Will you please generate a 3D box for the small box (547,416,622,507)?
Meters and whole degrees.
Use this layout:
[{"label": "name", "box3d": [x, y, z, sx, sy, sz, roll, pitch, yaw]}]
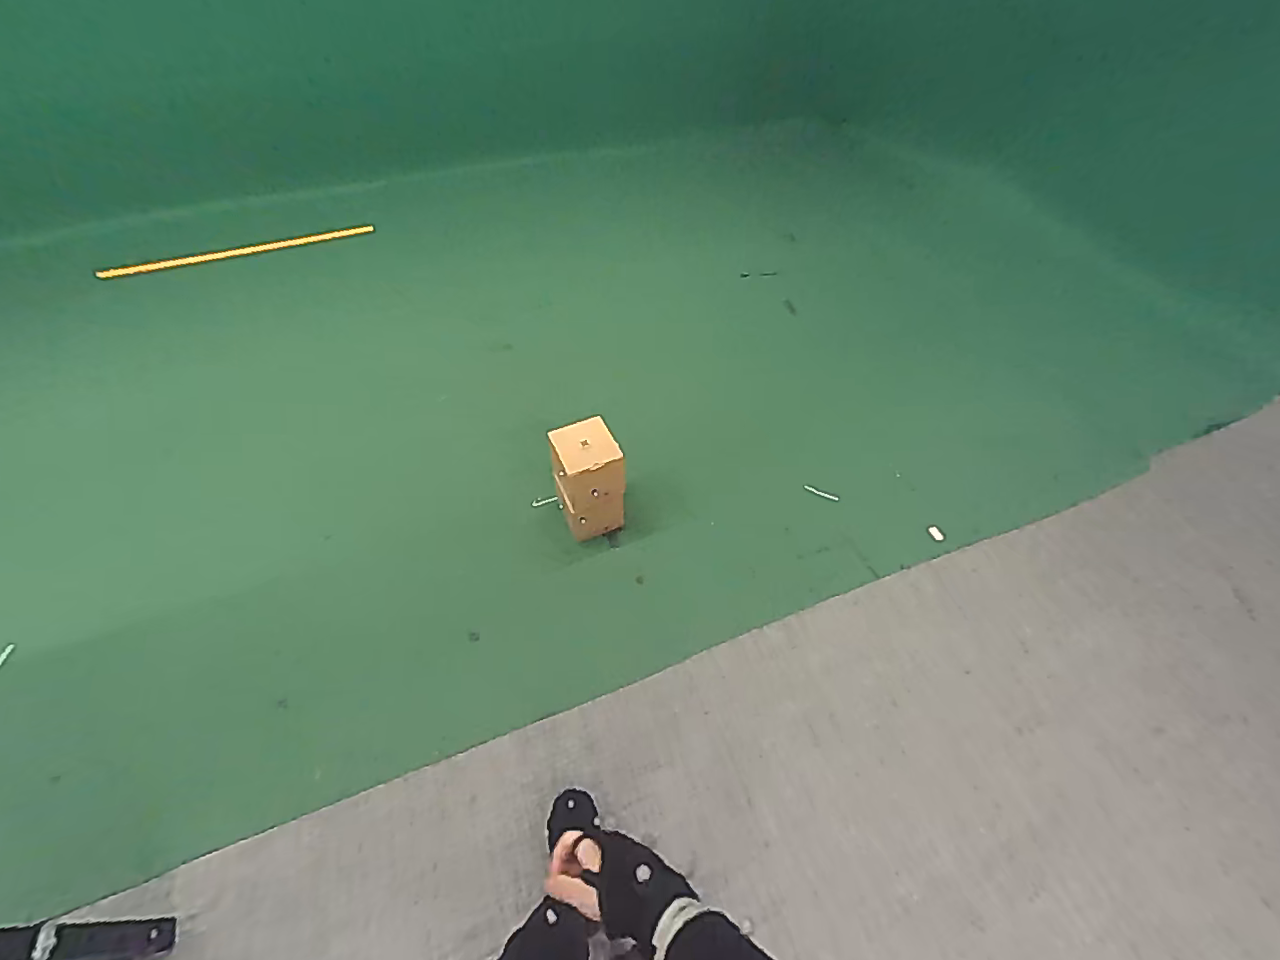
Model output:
[{"label": "small box", "box3d": [-0.161, -0.053, 1.574, 0.168, 0.176, 0.179, -20, 56, -17]}]
